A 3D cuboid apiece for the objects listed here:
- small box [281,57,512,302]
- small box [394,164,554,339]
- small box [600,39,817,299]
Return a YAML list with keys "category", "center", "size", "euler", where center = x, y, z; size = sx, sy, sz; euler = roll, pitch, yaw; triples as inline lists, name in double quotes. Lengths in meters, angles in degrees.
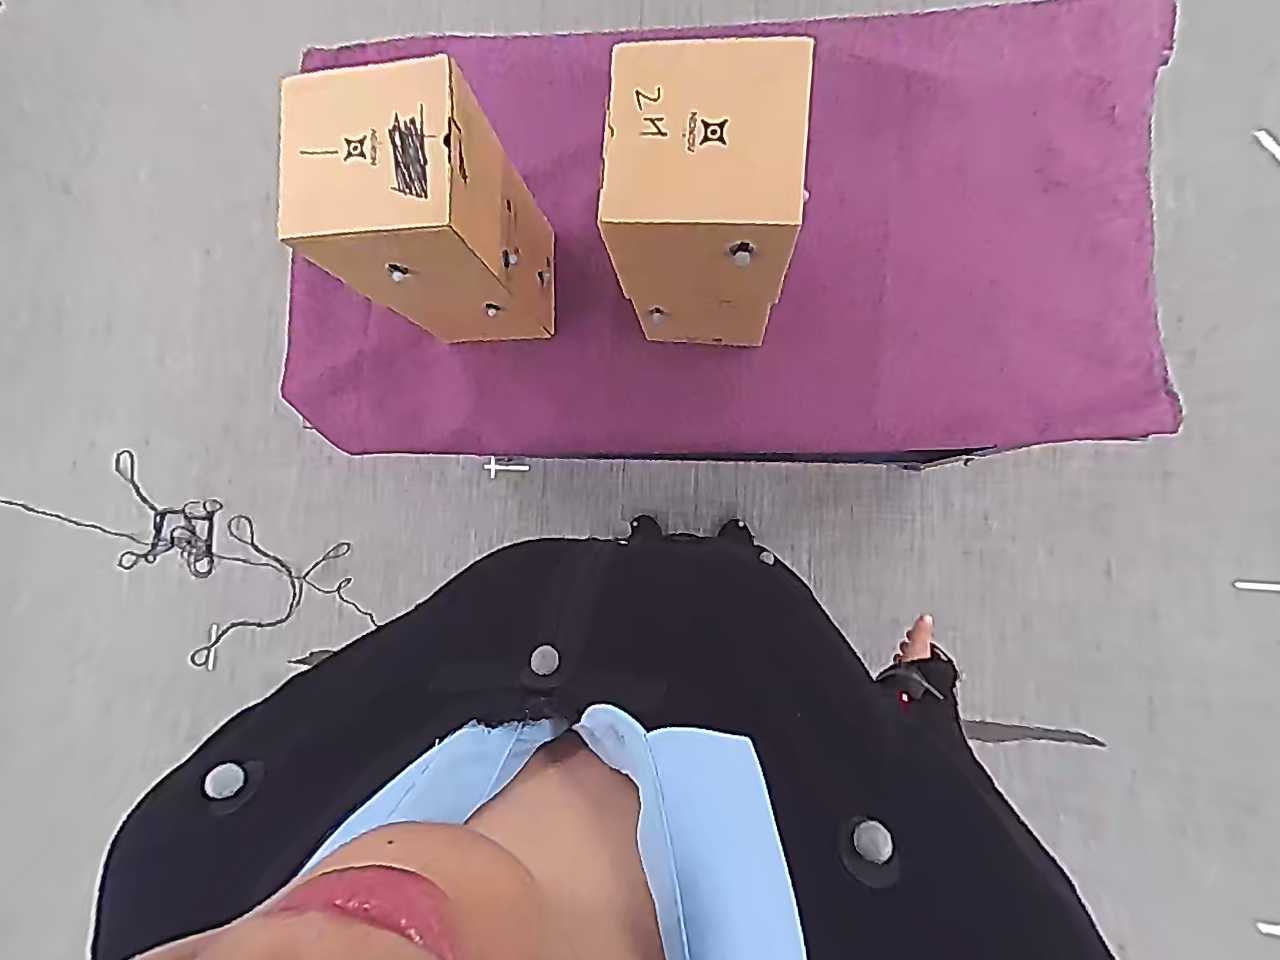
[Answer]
- category: "small box"
  center: [-0.247, -0.307, 0.587]
  size: [0.179, 0.176, 0.168]
  euler: [-1, 86, 7]
- category: "small box"
  center: [-0.228, -0.302, 0.751]
  size: [0.179, 0.176, 0.168]
  euler: [-1, 87, 7]
- category: "small box"
  center: [0.067, -0.294, 0.544]
  size: [0.179, 0.176, 0.168]
  euler: [5, 86, 8]
